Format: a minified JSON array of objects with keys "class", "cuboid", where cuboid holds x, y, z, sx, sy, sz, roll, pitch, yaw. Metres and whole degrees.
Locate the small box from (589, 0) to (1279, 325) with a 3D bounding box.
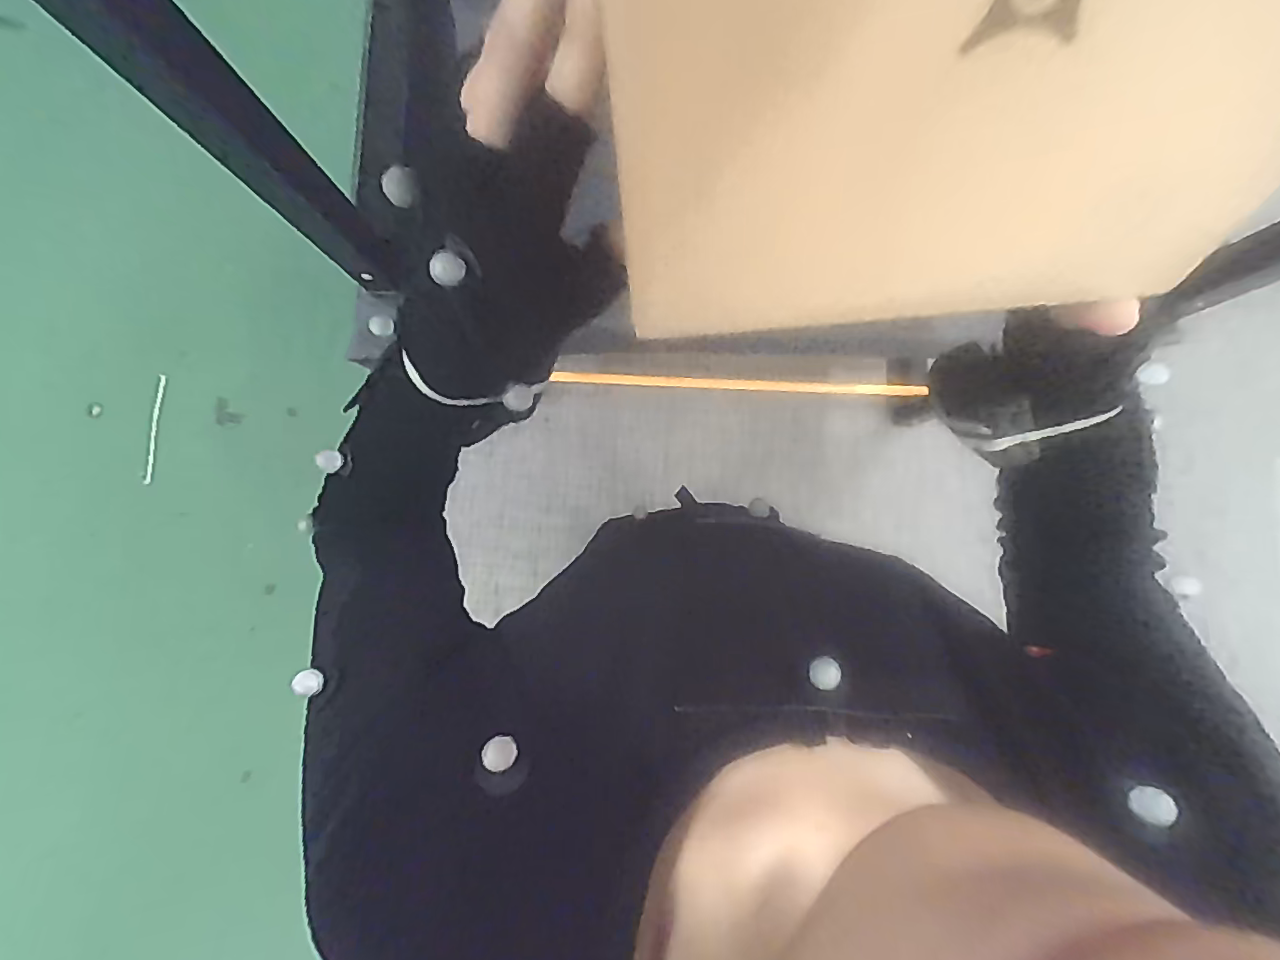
[{"class":"small box","cuboid":[0.069,-0.167,0.137,0.168,0.179,0.176,-4,60,2]}]
